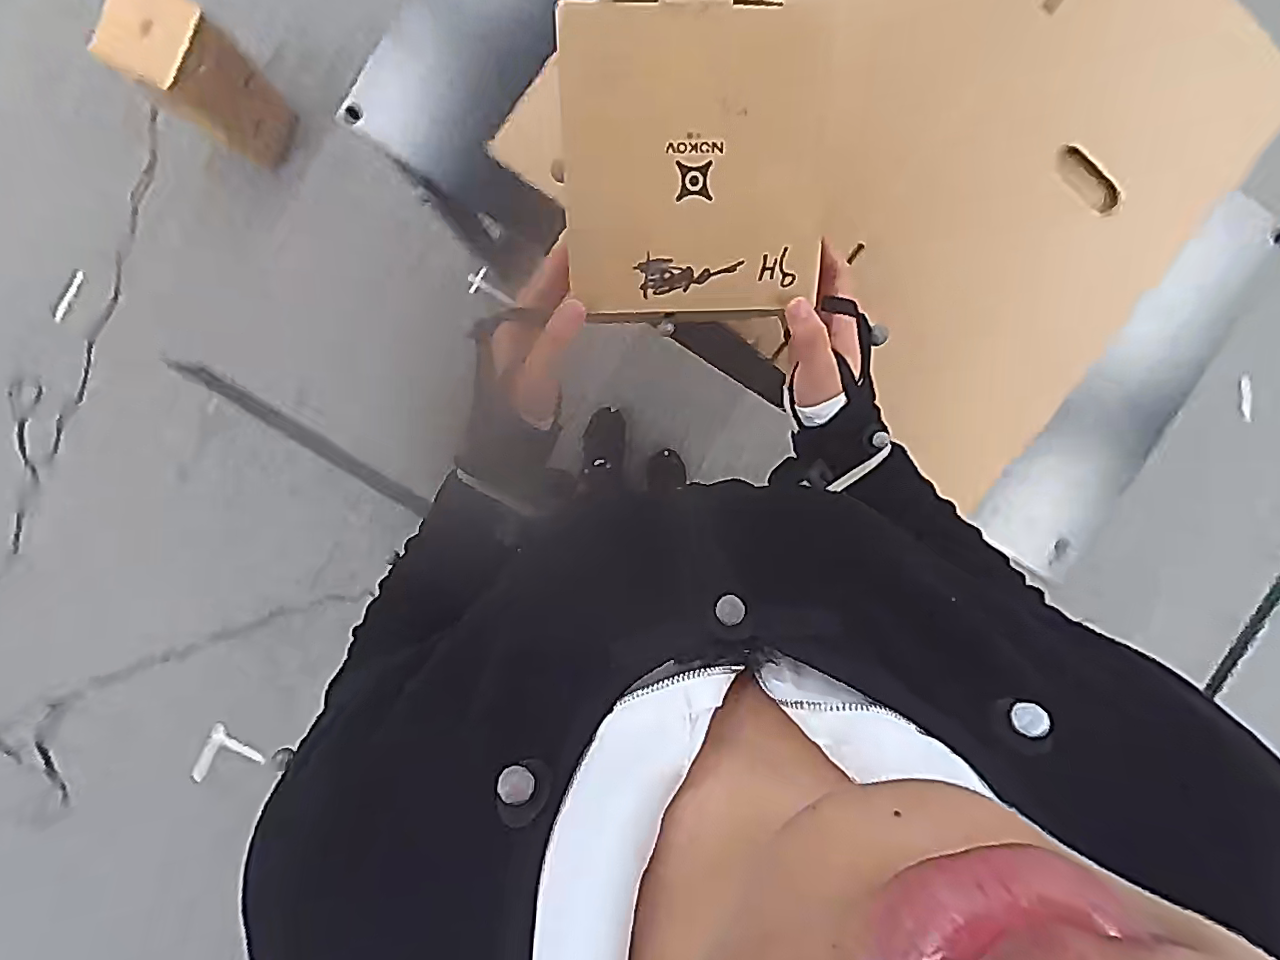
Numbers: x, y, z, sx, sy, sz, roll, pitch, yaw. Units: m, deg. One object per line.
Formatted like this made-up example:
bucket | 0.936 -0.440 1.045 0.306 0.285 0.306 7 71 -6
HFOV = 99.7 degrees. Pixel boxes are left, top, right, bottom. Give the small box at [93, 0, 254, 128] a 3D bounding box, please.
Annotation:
small box | -0.968 -0.897 1.142 0.168 0.176 0.179 25 92 -5

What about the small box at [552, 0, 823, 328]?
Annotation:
small box | 0.025 -0.213 0.413 0.168 0.176 0.179 -3 104 -3

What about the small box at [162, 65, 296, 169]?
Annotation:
small box | -0.976 -0.904 1.304 0.168 0.176 0.179 28 93 -4
